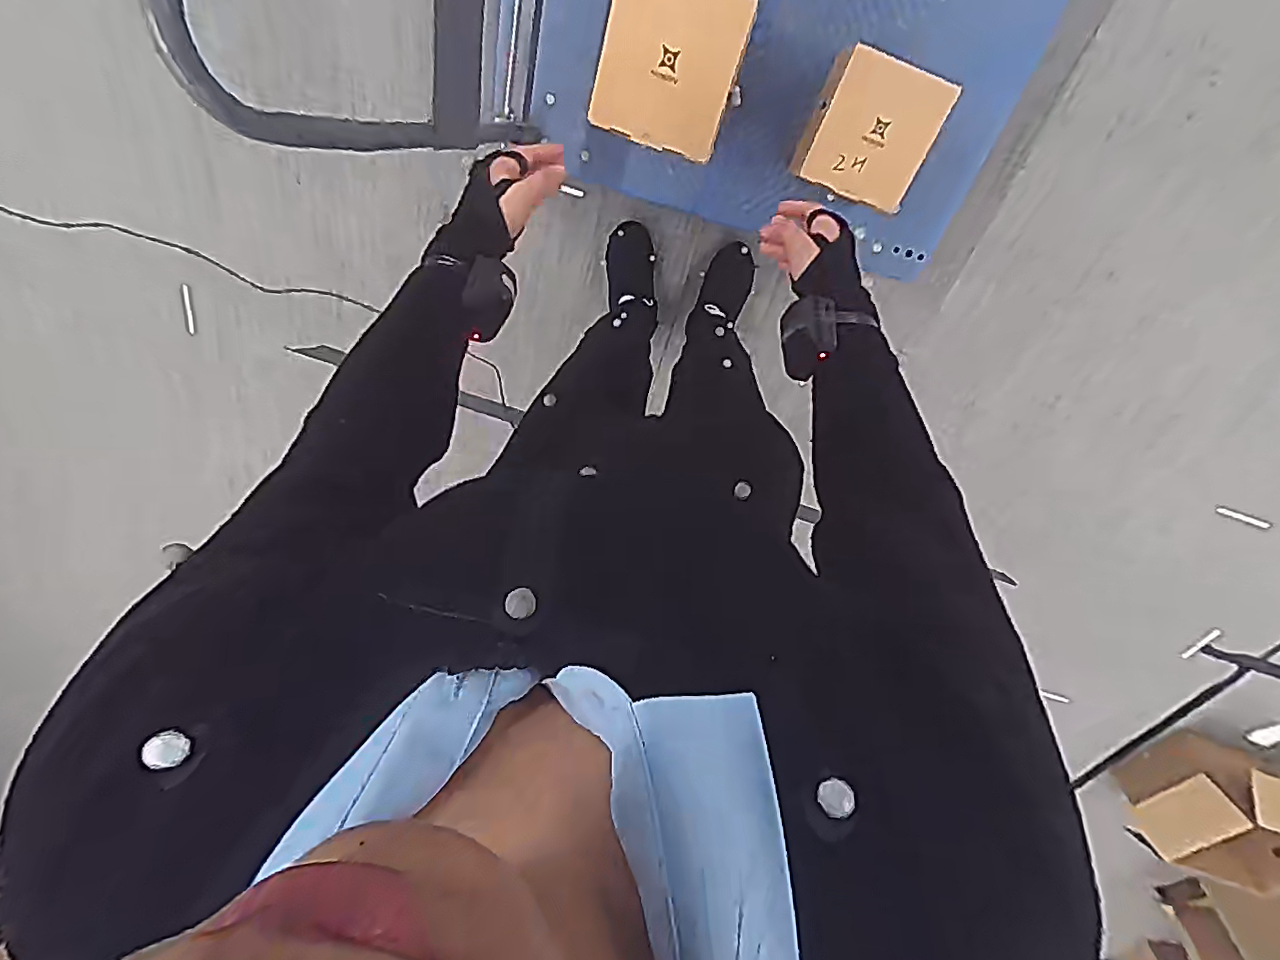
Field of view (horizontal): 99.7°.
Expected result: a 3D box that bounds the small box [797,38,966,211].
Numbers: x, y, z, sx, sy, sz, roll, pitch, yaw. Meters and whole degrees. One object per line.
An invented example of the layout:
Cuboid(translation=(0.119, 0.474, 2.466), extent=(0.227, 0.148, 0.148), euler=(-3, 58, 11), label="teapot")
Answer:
Cuboid(translation=(0.367, -0.559, 0.866), extent=(0.168, 0.176, 0.179), euler=(20, 123, -4), label="small box")

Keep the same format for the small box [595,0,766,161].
Cuboid(translation=(0.051, -0.553, 0.721), extent=(0.168, 0.176, 0.179), euler=(18, 124, -4), label="small box")
